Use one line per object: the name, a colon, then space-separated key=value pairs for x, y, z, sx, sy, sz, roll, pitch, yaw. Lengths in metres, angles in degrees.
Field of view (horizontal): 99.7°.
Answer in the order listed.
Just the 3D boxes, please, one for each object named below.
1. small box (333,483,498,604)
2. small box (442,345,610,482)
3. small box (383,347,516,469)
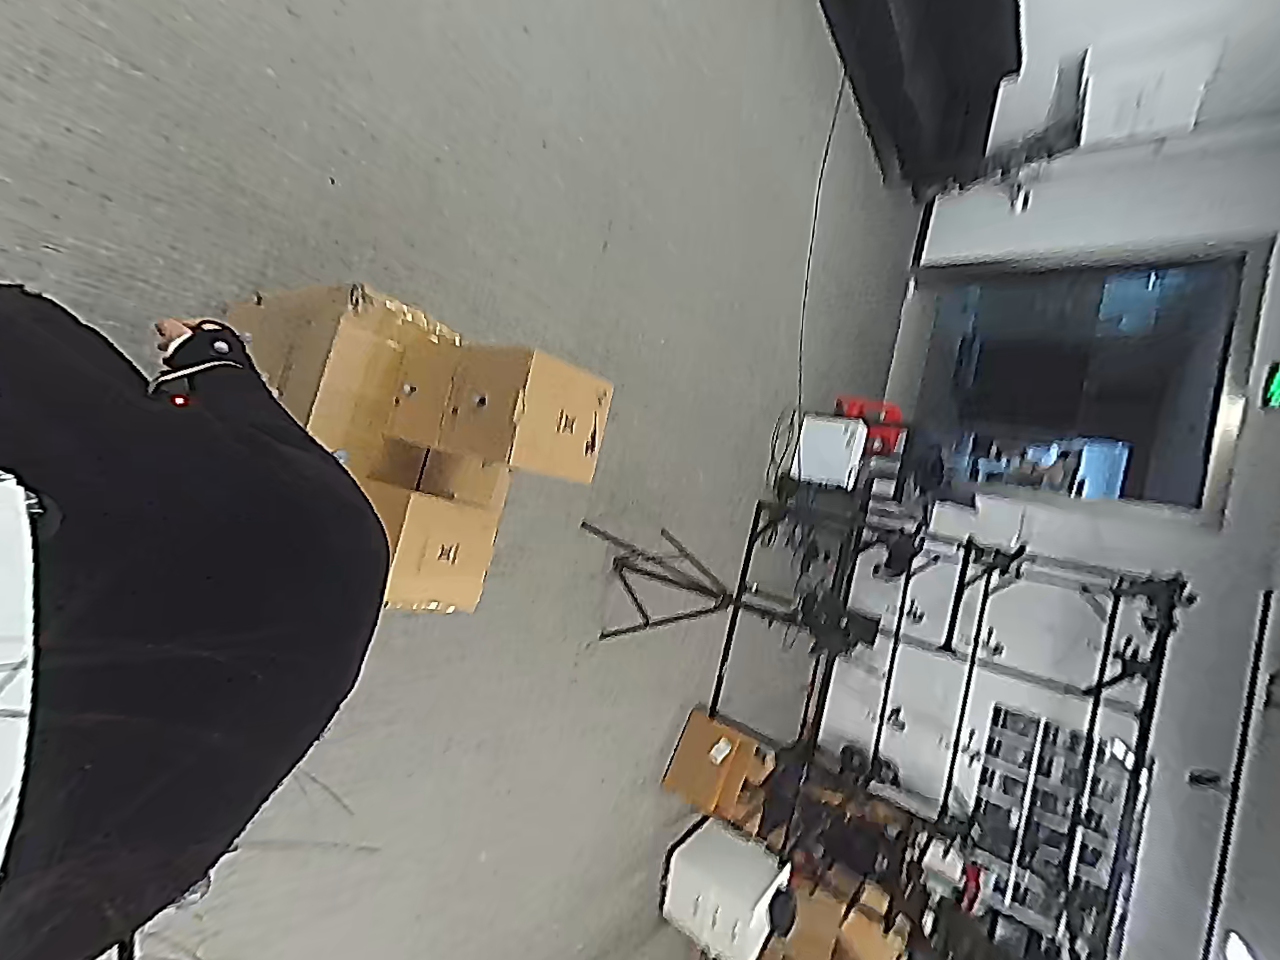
small box: x=-0.377 y=0.105 z=0.912 sx=0.179 sy=0.176 sz=0.168 roll=19 pitch=81 yaw=-51
small box: x=-0.179 y=-0.101 z=0.843 sx=0.179 sy=0.176 sz=0.168 roll=15 pitch=88 yaw=-52
small box: x=-0.309 y=-0.127 z=0.940 sx=0.179 sy=0.176 sz=0.168 roll=18 pitch=86 yaw=-52
